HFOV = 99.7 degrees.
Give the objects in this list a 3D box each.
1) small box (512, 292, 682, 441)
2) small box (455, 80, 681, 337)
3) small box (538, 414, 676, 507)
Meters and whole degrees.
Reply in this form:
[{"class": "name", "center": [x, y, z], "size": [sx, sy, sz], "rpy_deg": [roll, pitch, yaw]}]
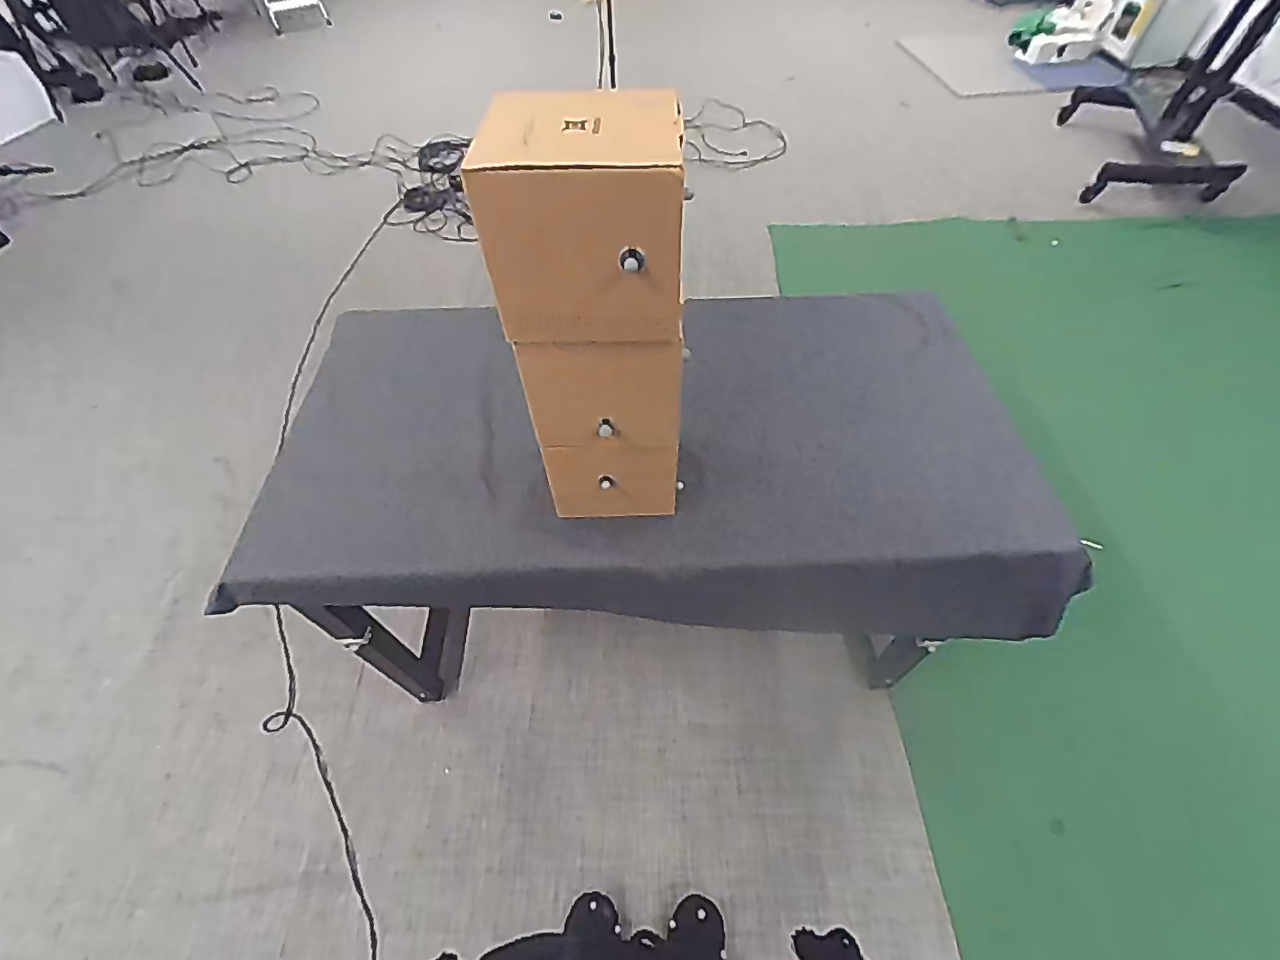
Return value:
[{"class": "small box", "center": [-0.046, -0.162, 0.660], "size": [0.179, 0.176, 0.168], "rpy_deg": [-4, 55, 0]}, {"class": "small box", "center": [-0.053, -0.256, 0.524], "size": [0.179, 0.176, 0.168], "rpy_deg": [-1, 53, 2]}, {"class": "small box", "center": [-0.041, -0.072, 0.793], "size": [0.179, 0.176, 0.168], "rpy_deg": [-2, 54, 1]}]
